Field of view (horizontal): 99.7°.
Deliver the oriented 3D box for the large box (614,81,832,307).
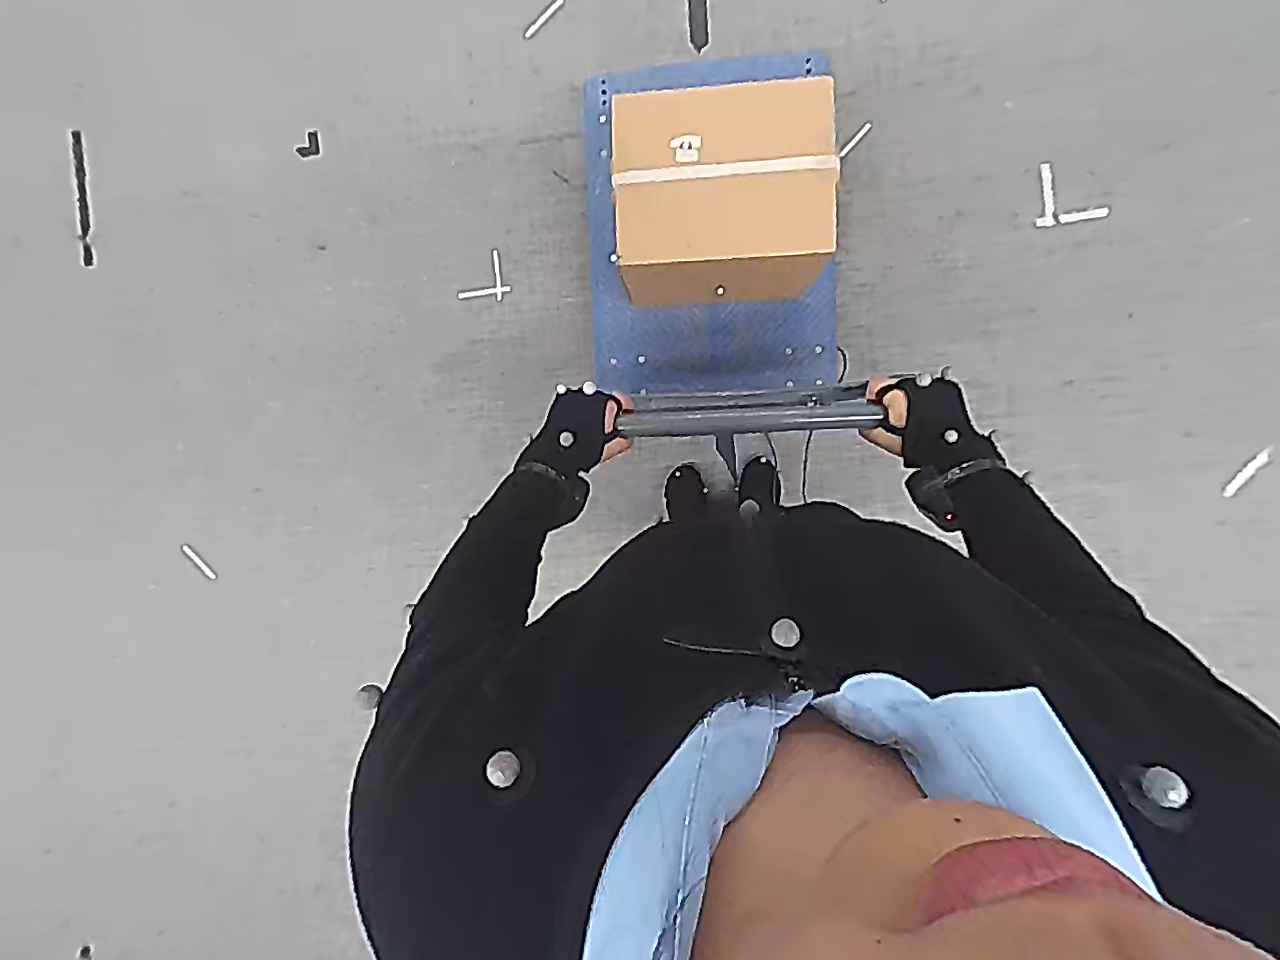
[{"bbox_3d":[0.170,-0.577,1.163,0.408,0.320,0.320,-2,92,6],"label":"large box"}]
